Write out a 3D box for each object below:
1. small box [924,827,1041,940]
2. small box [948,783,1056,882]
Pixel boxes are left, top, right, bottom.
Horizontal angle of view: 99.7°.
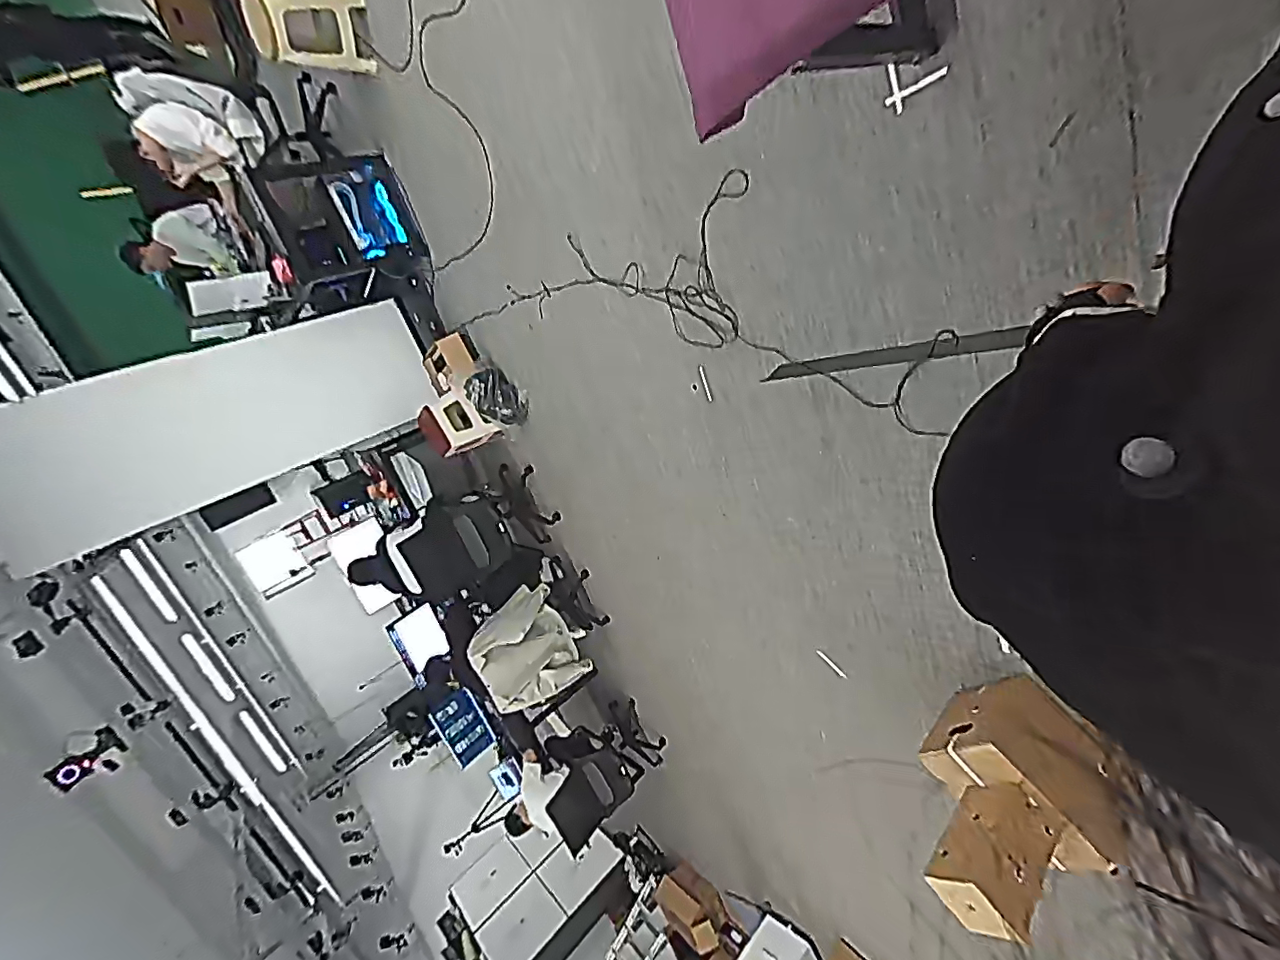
[{"bbox_3d":[0.907,1.052,1.429,0.168,0.176,0.179,48,145,12],"label":"small box"},{"bbox_3d":[1.022,0.983,1.520,0.168,0.176,0.179,48,147,15],"label":"small box"}]
